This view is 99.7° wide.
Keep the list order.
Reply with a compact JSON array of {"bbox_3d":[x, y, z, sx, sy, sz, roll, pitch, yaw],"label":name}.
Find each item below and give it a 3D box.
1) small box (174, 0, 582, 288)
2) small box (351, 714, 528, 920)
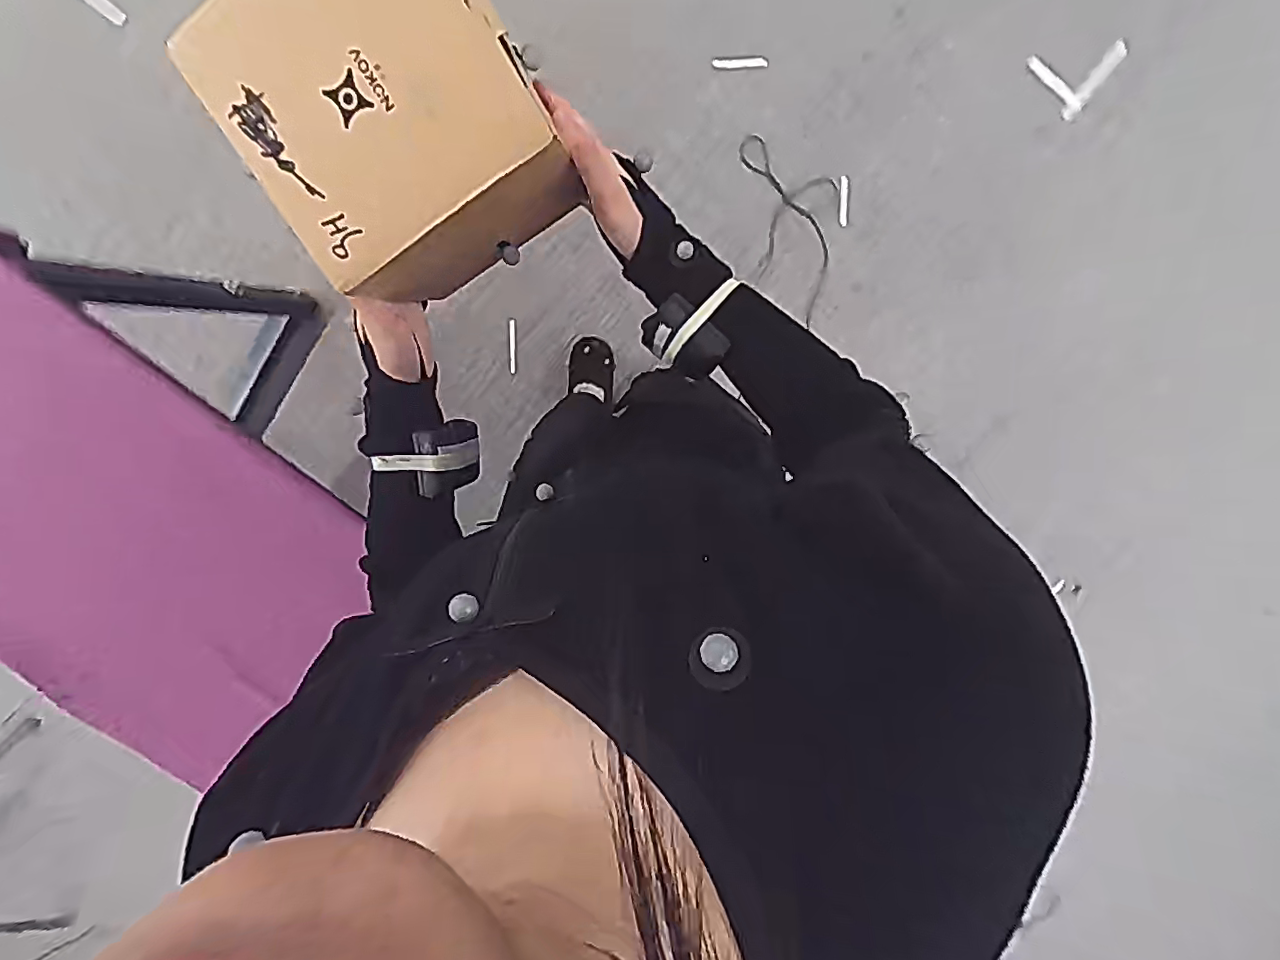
[{"bbox_3d":[-0.155,-0.258,0.394,0.179,0.176,0.168,-27,103,10],"label":"small box"},{"bbox_3d":[-0.289,0.500,0.824,0.168,0.176,0.179,35,104,-6],"label":"small box"}]
